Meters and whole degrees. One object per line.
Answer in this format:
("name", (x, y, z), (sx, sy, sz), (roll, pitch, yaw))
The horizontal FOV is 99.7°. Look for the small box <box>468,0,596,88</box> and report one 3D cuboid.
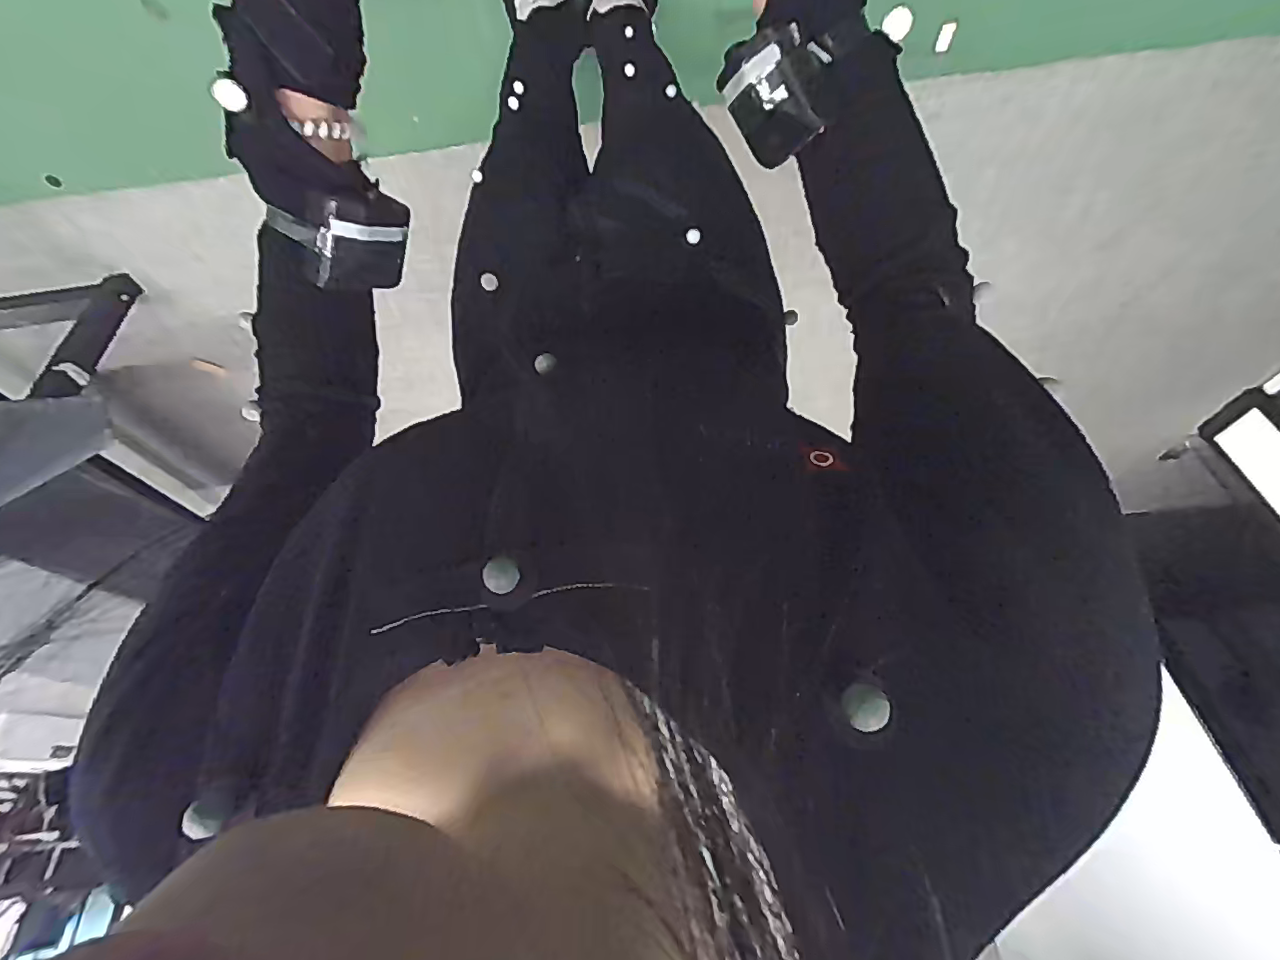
("small box", (-0.176, -0.825, 0.915), (0.179, 0.176, 0.168), (25, 149, -17))
